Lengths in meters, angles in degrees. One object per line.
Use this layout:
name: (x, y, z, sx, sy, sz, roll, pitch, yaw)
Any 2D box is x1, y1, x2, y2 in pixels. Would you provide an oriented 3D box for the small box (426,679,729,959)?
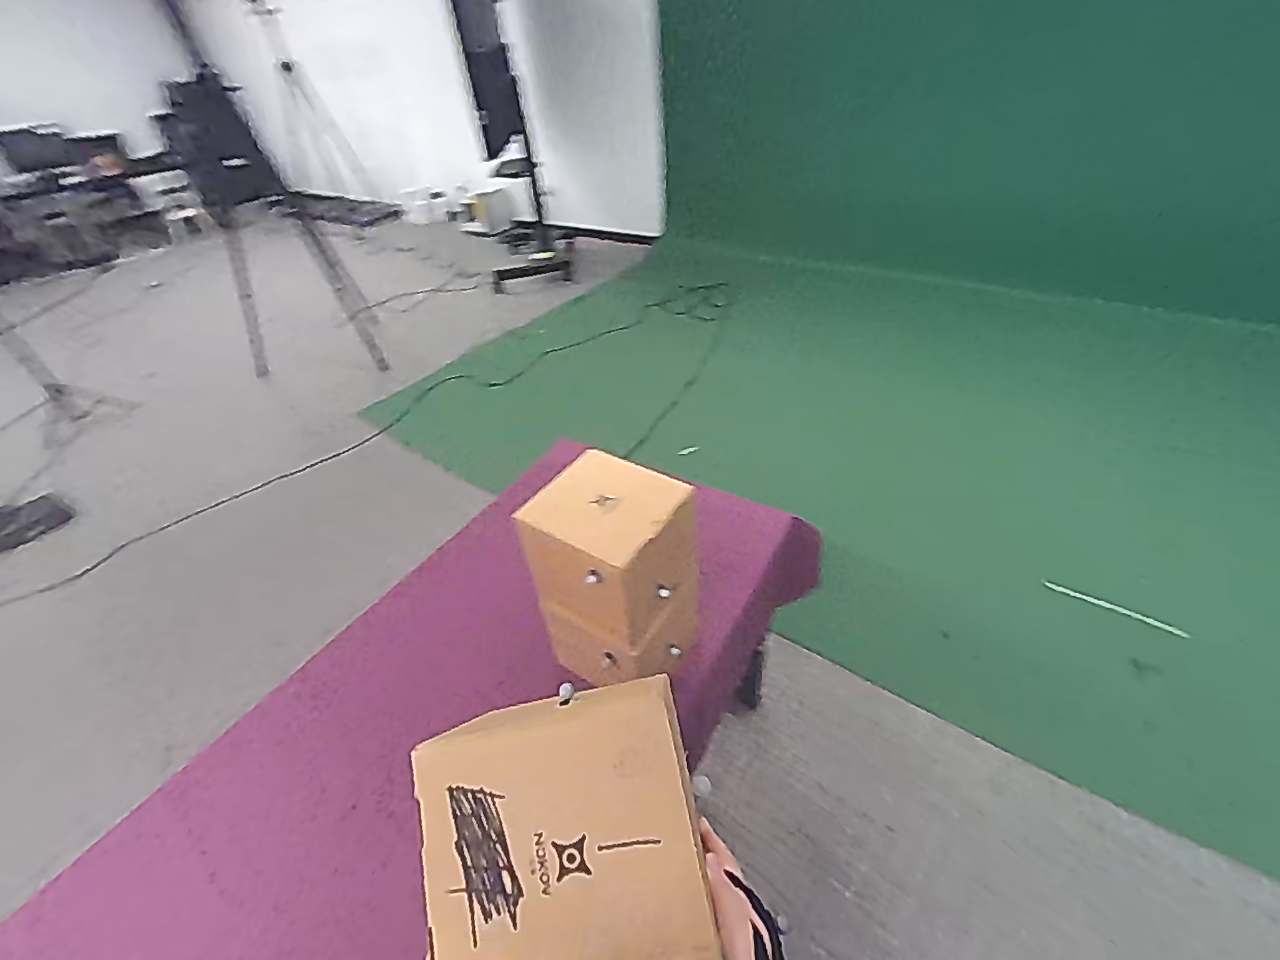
small box: (-0.039, 0.258, 0.416, 0.179, 0.176, 0.168, -12, 75, 0)

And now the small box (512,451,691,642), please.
small box: (-0.044, 0.091, 0.749, 0.179, 0.176, 0.168, 21, 47, 27)

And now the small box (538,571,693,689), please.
small box: (-0.029, 0.220, 0.847, 0.179, 0.176, 0.168, 20, 46, 28)
